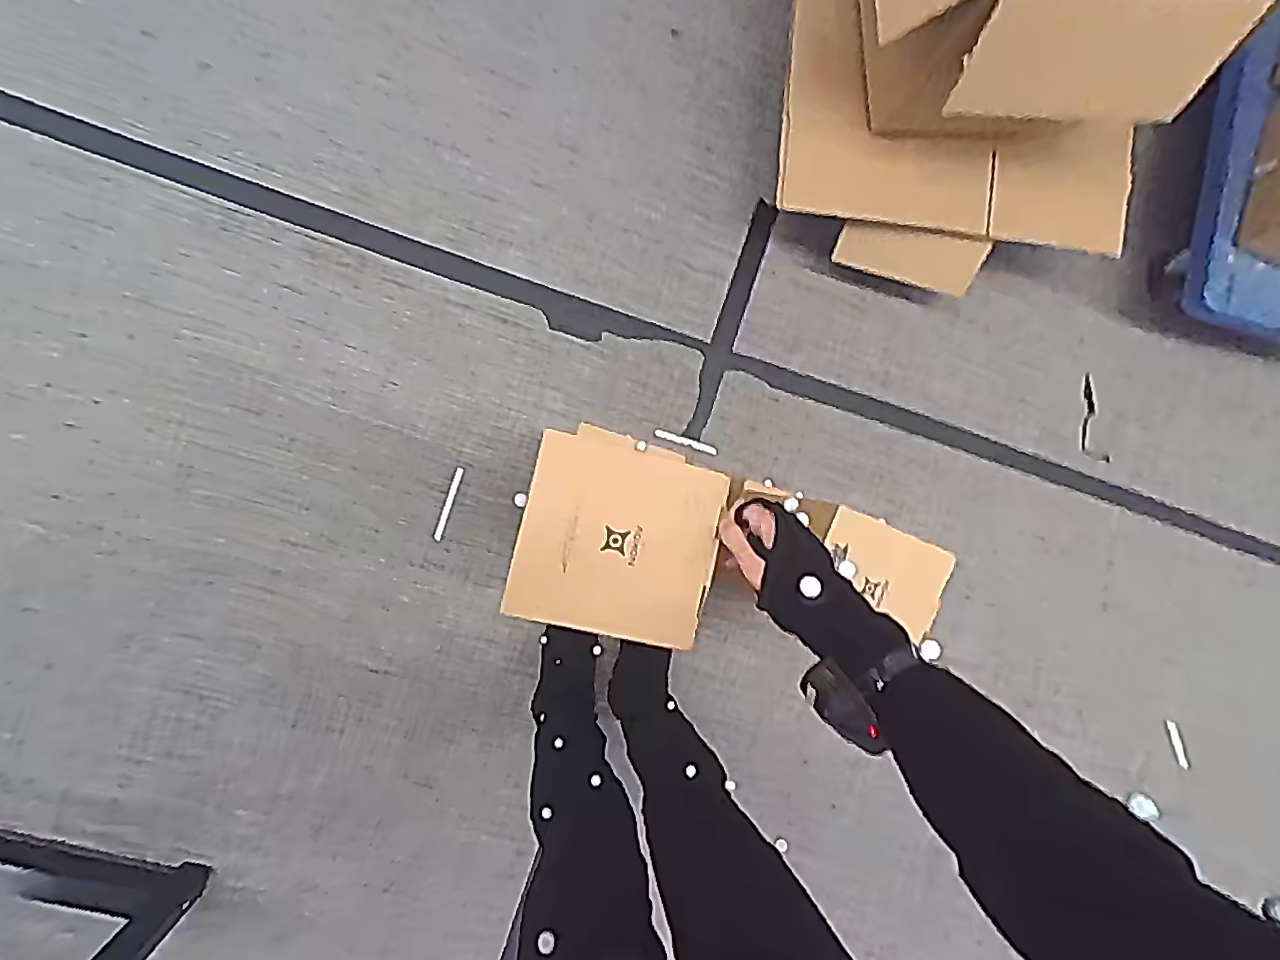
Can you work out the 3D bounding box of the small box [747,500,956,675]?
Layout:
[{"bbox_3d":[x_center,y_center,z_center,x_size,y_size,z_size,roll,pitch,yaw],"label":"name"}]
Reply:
[{"bbox_3d":[0.277,0.134,0.743,0.179,0.176,0.168,24,89,-10],"label":"small box"}]

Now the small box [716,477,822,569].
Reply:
[{"bbox_3d":[0.231,0.100,1.067,0.168,0.176,0.179,18,89,-9],"label":"small box"}]

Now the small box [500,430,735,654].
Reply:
[{"bbox_3d":[-0.028,0.057,0.544,0.179,0.176,0.168,14,86,-8],"label":"small box"}]

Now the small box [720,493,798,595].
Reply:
[{"bbox_3d":[0.254,0.124,0.905,0.179,0.176,0.168,20,90,-9],"label":"small box"}]
